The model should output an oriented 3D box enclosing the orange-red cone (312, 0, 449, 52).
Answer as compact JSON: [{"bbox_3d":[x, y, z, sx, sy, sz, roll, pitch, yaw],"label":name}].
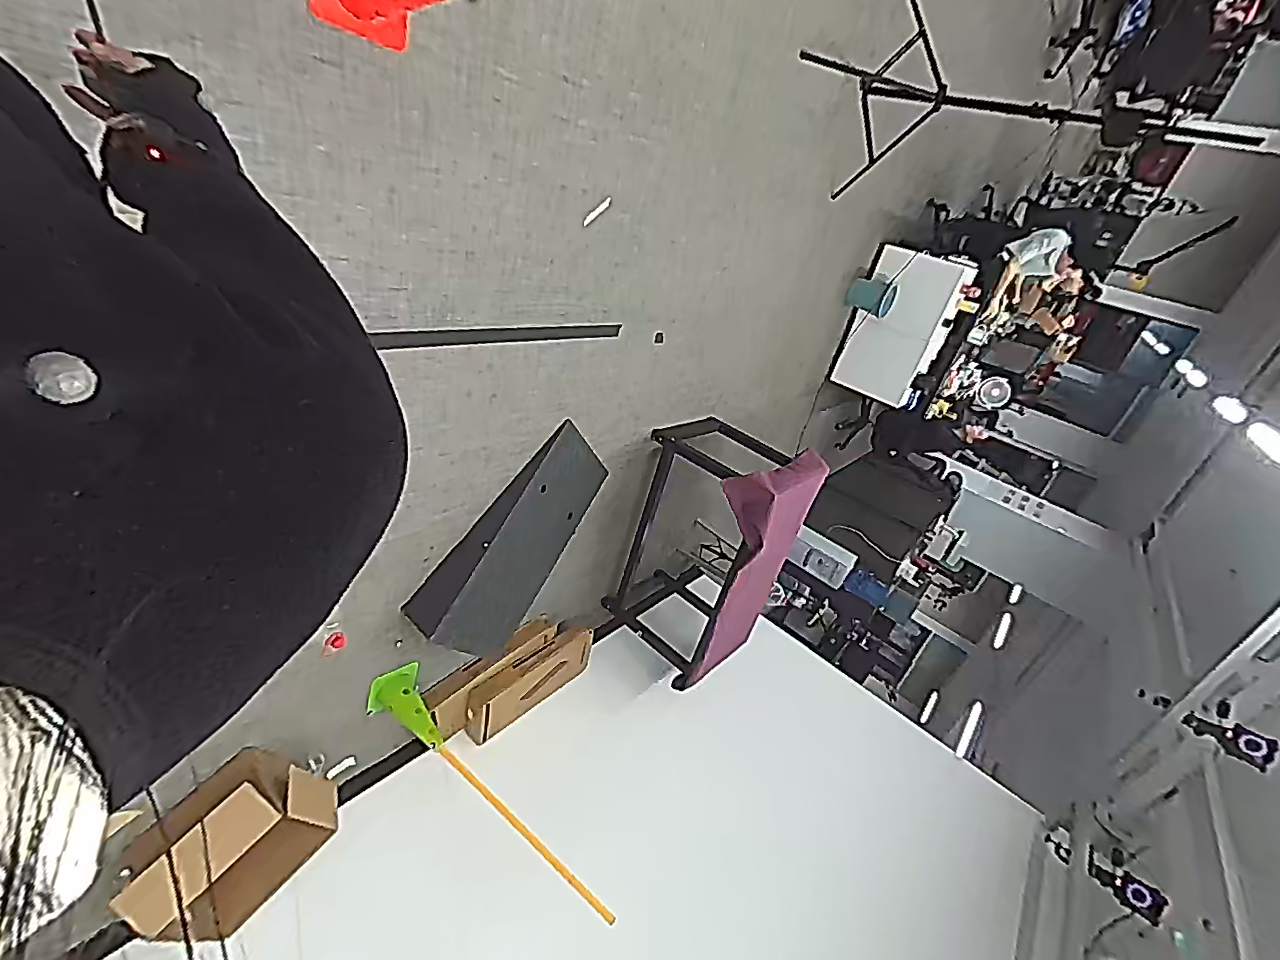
[{"bbox_3d":[-0.426,-0.925,0.997,0.198,0.360,0.199,-15,131,-49],"label":"orange-red cone"}]
